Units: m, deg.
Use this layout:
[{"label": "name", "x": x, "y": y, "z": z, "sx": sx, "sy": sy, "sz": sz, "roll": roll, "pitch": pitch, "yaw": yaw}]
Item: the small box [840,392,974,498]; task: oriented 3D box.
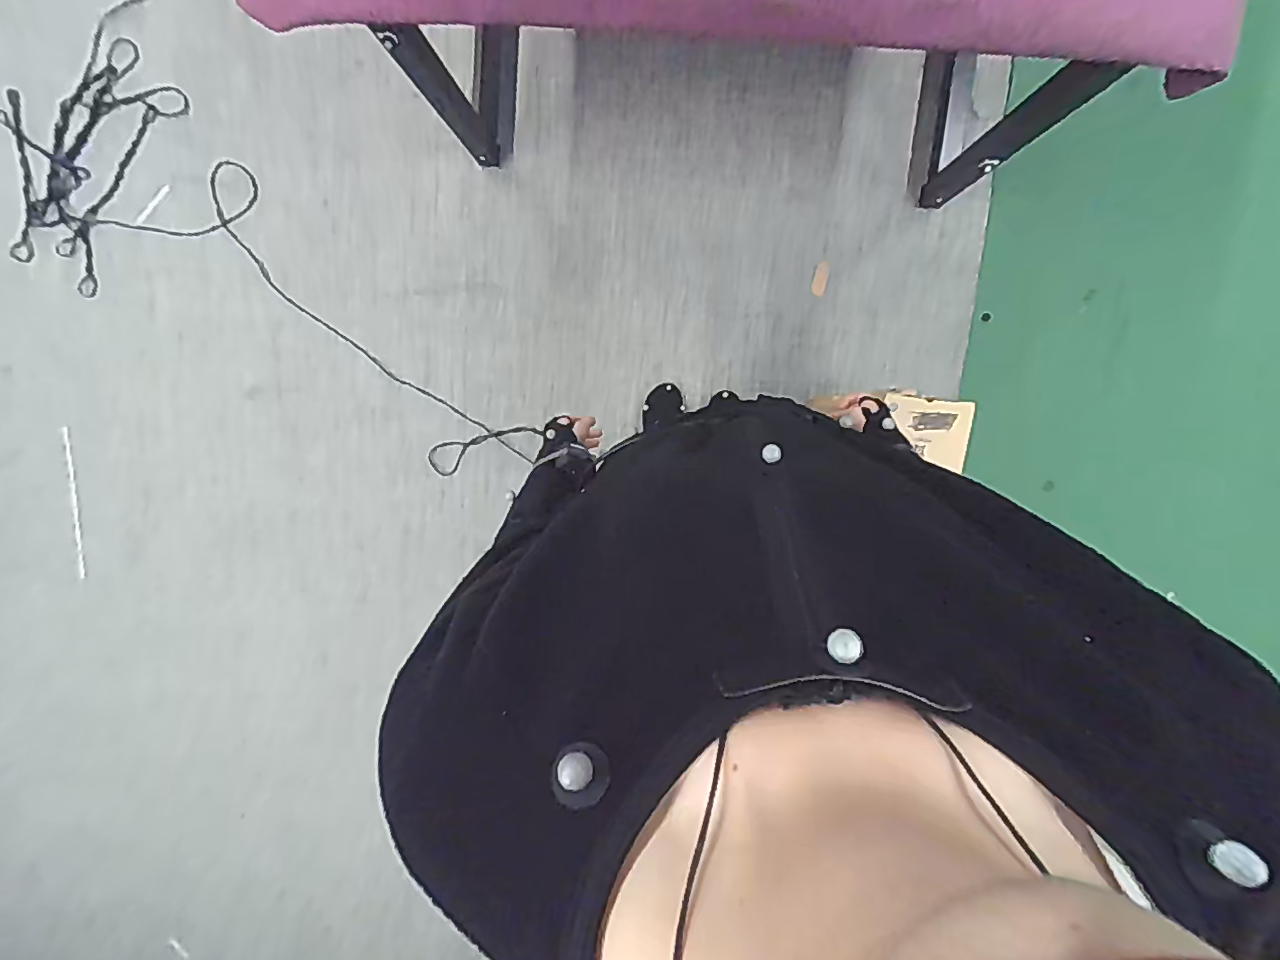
[{"label": "small box", "x": 0.511, "y": -0.075, "z": 1.061, "sx": 0.168, "sy": 0.176, "sz": 0.179, "roll": 7, "pitch": 100, "yaw": 1}]

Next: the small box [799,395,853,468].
[{"label": "small box", "x": 0.526, "y": -0.115, "z": 1.387, "sx": 0.179, "sy": 0.176, "sz": 0.168, "roll": 16, "pitch": 99, "yaw": 1}]
